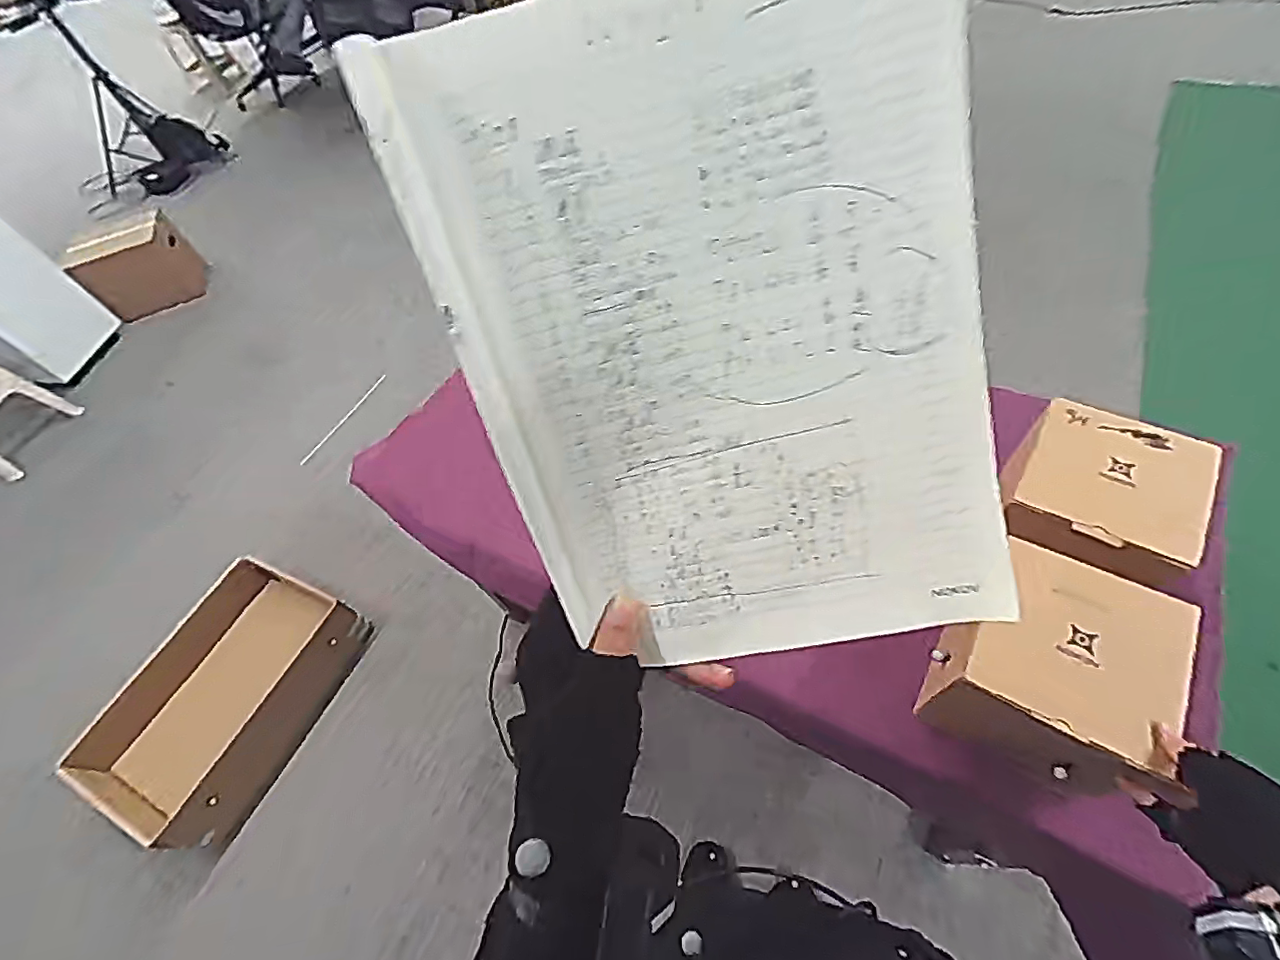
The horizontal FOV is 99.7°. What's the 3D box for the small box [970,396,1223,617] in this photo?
[{"bbox_3d":[0.533,0.037,0.657,0.168,0.176,0.179,27,66,25],"label":"small box"}]
